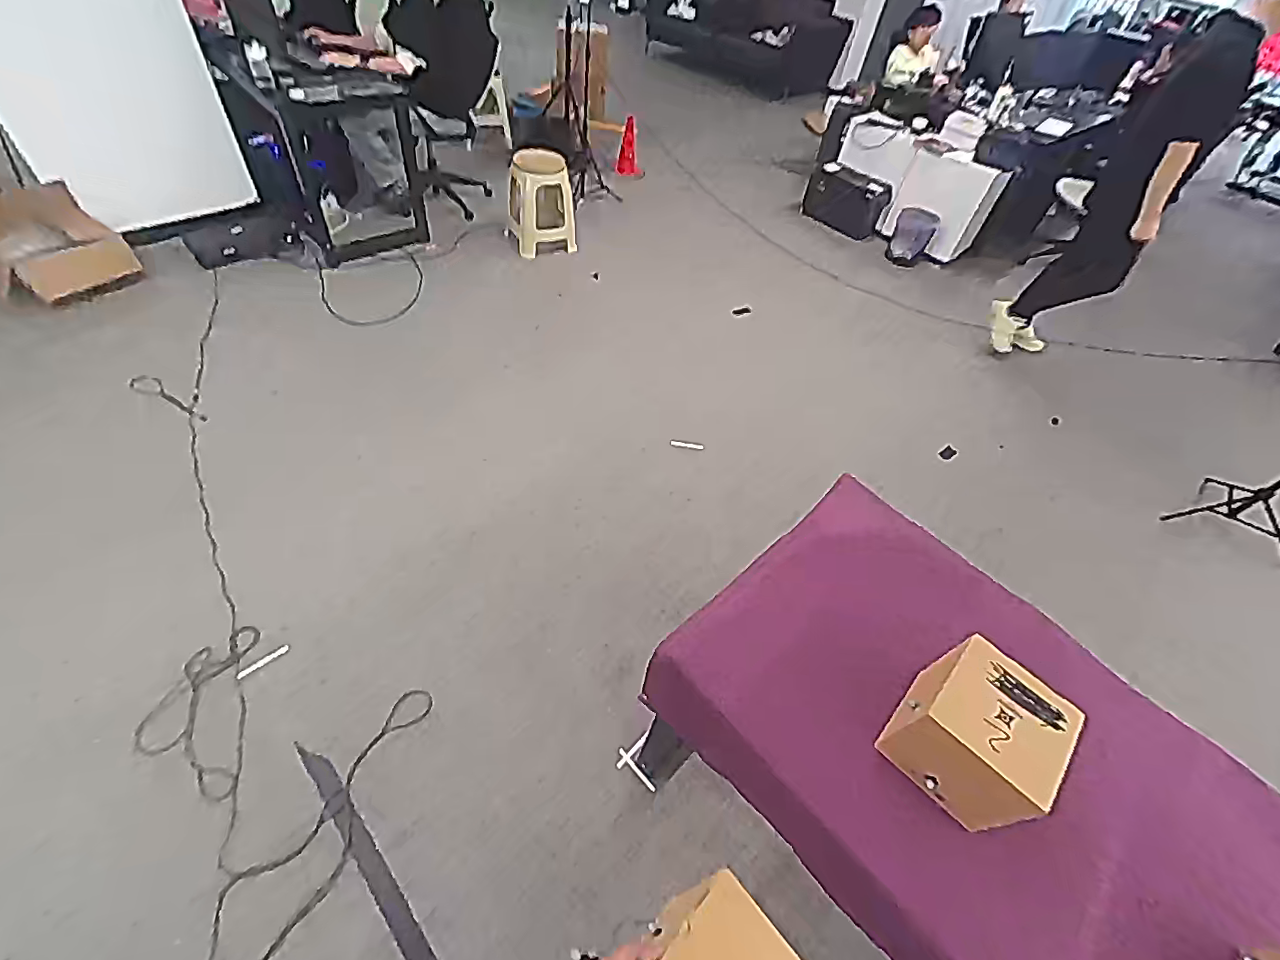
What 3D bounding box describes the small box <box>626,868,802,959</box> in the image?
[{"bbox_3d":[0.078,0.587,0.598,0.179,0.176,0.168,42,43,23],"label":"small box"}]
